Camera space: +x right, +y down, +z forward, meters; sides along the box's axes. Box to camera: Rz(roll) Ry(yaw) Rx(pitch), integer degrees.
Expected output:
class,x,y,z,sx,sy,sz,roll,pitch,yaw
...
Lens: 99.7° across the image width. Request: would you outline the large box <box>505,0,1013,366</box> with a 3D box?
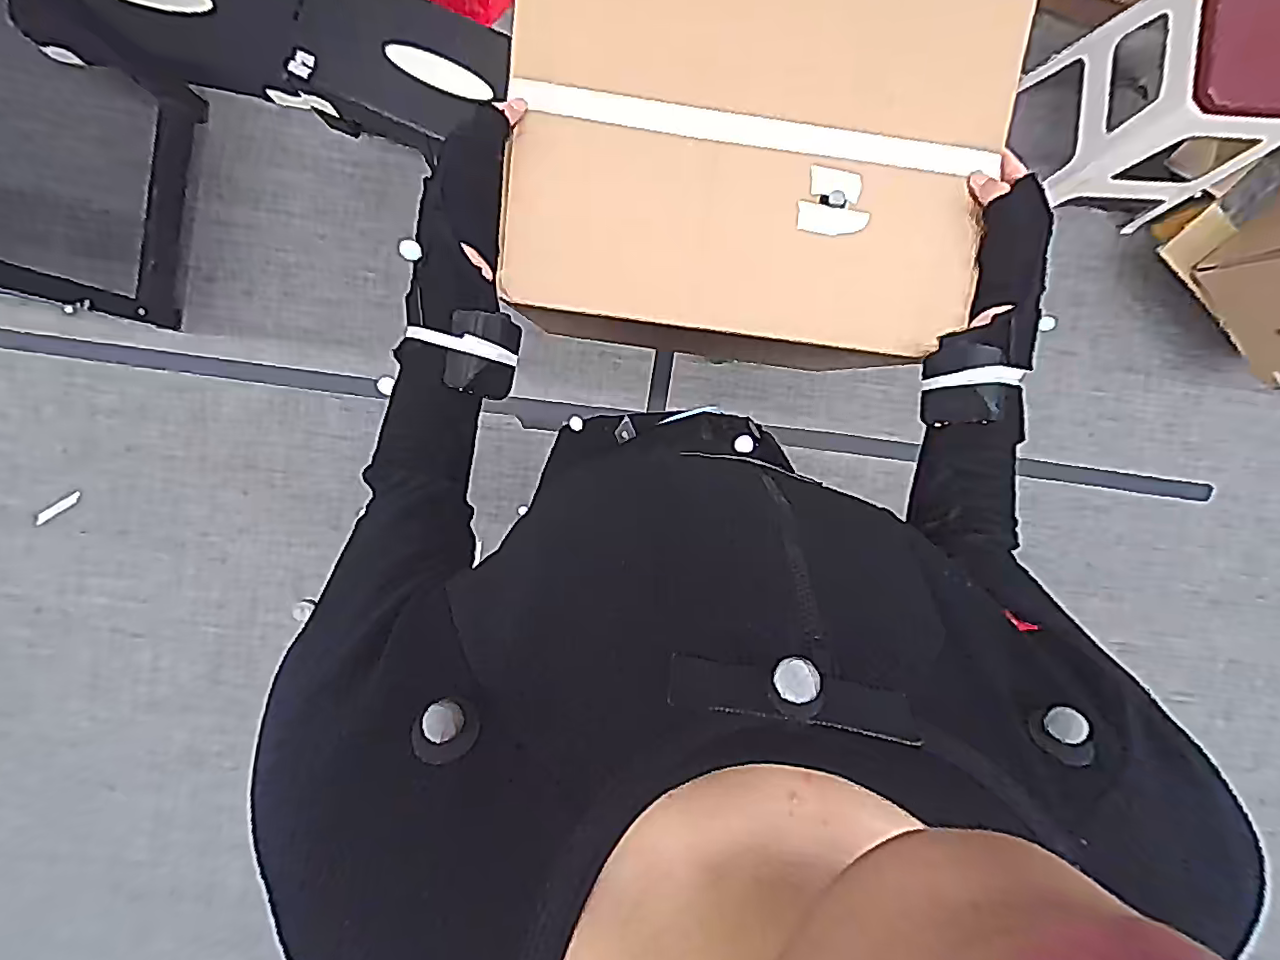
class,x,y,z,sx,sy,sz,roll,pitch,yaw
large box,0.085,-0.308,0.599,0.408,0.320,0.320,7,101,-5
